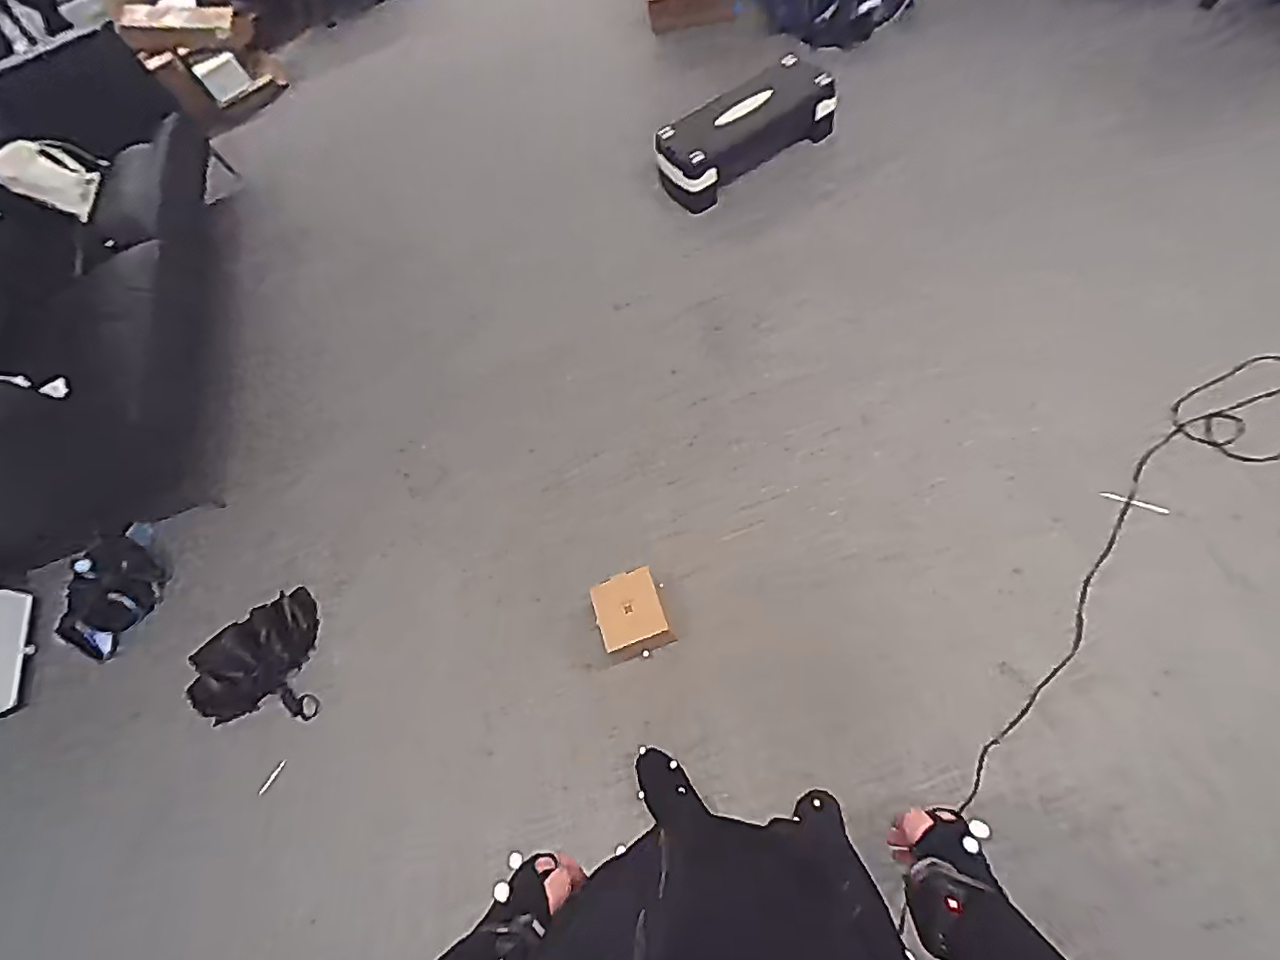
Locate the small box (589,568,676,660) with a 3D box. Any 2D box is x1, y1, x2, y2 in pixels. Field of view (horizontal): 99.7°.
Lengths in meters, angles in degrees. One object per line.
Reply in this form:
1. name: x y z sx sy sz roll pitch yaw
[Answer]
1. small box: -0.017 0.359 1.427 0.168 0.176 0.179 -22 63 3
